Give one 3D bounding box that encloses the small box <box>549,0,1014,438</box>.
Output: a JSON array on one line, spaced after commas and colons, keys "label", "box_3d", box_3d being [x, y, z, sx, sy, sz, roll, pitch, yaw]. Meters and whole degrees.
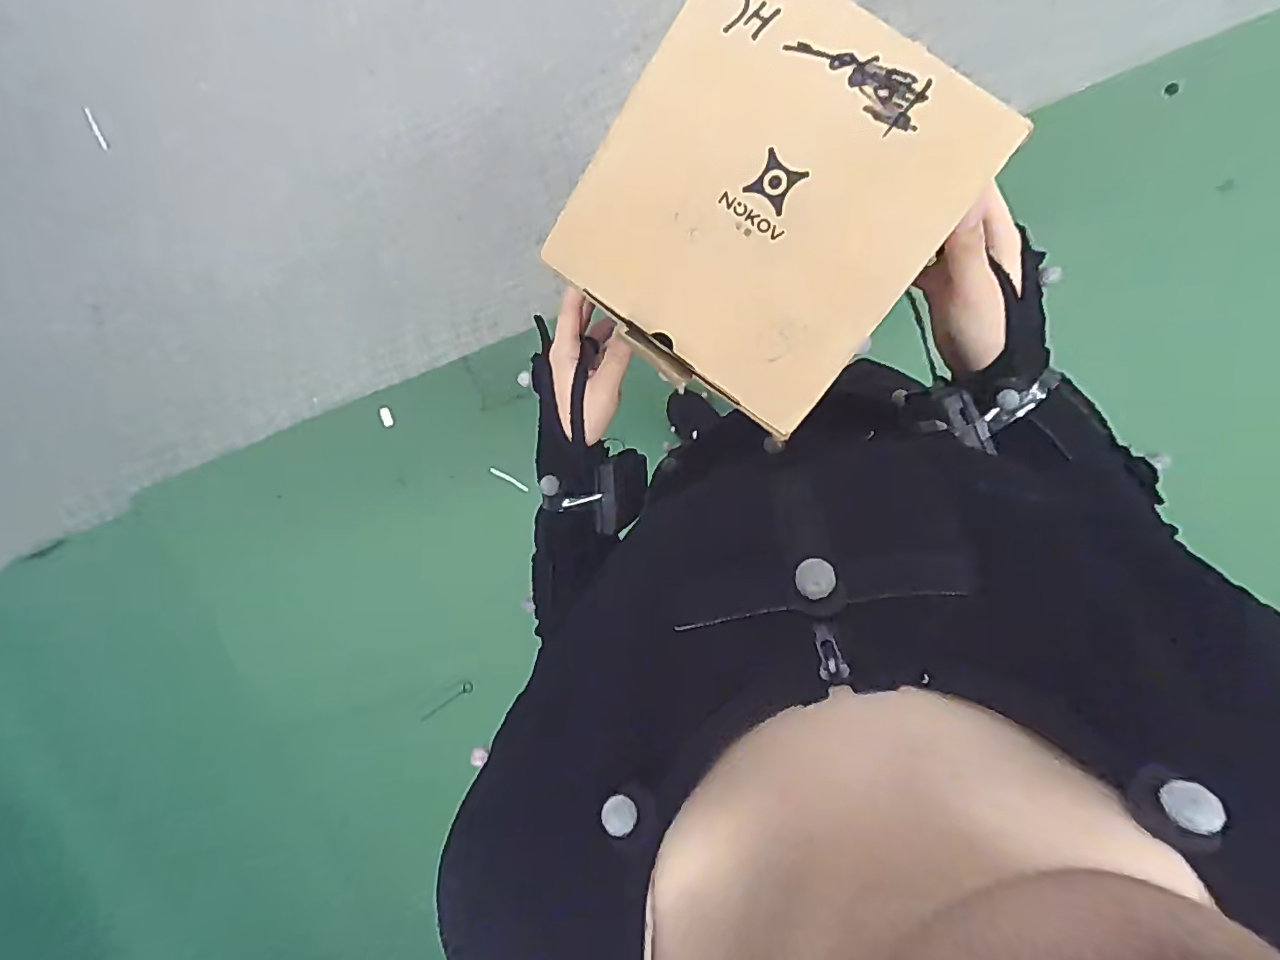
[{"label": "small box", "box_3d": [0.077, -0.149, 0.350, 0.168, 0.176, 0.179, 37, 104, 3]}]
